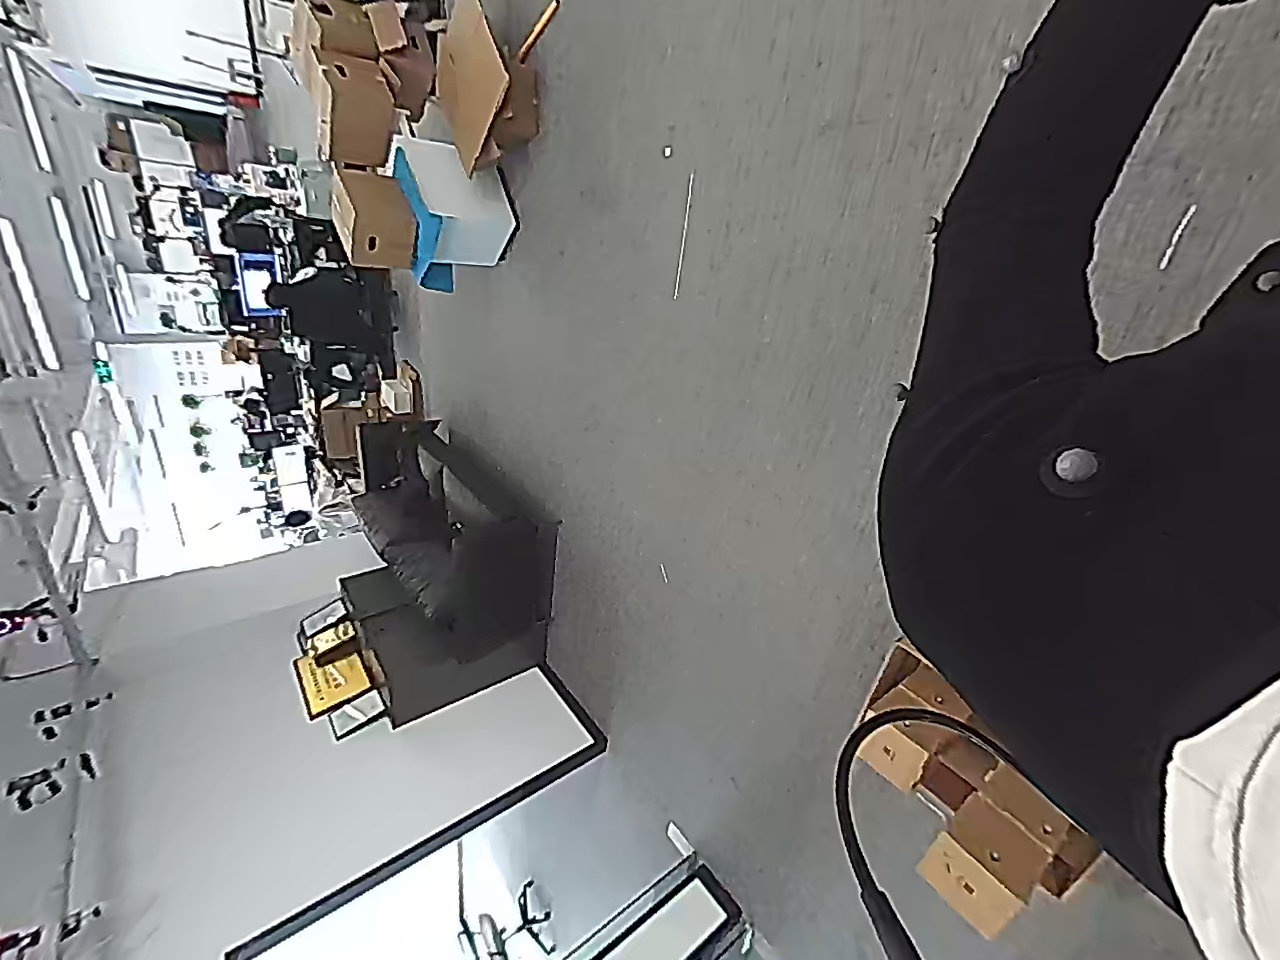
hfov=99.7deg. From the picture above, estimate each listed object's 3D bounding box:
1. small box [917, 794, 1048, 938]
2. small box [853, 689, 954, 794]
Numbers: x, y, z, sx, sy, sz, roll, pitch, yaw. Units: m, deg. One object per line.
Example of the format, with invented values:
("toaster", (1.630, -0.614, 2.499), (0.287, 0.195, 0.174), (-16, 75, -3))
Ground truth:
("small box", (0.783, 0.873, 1.237), (0.179, 0.176, 0.168), (38, 129, 41))
("small box", (0.744, 0.725, 1.523), (0.179, 0.176, 0.168), (34, 124, 43))
